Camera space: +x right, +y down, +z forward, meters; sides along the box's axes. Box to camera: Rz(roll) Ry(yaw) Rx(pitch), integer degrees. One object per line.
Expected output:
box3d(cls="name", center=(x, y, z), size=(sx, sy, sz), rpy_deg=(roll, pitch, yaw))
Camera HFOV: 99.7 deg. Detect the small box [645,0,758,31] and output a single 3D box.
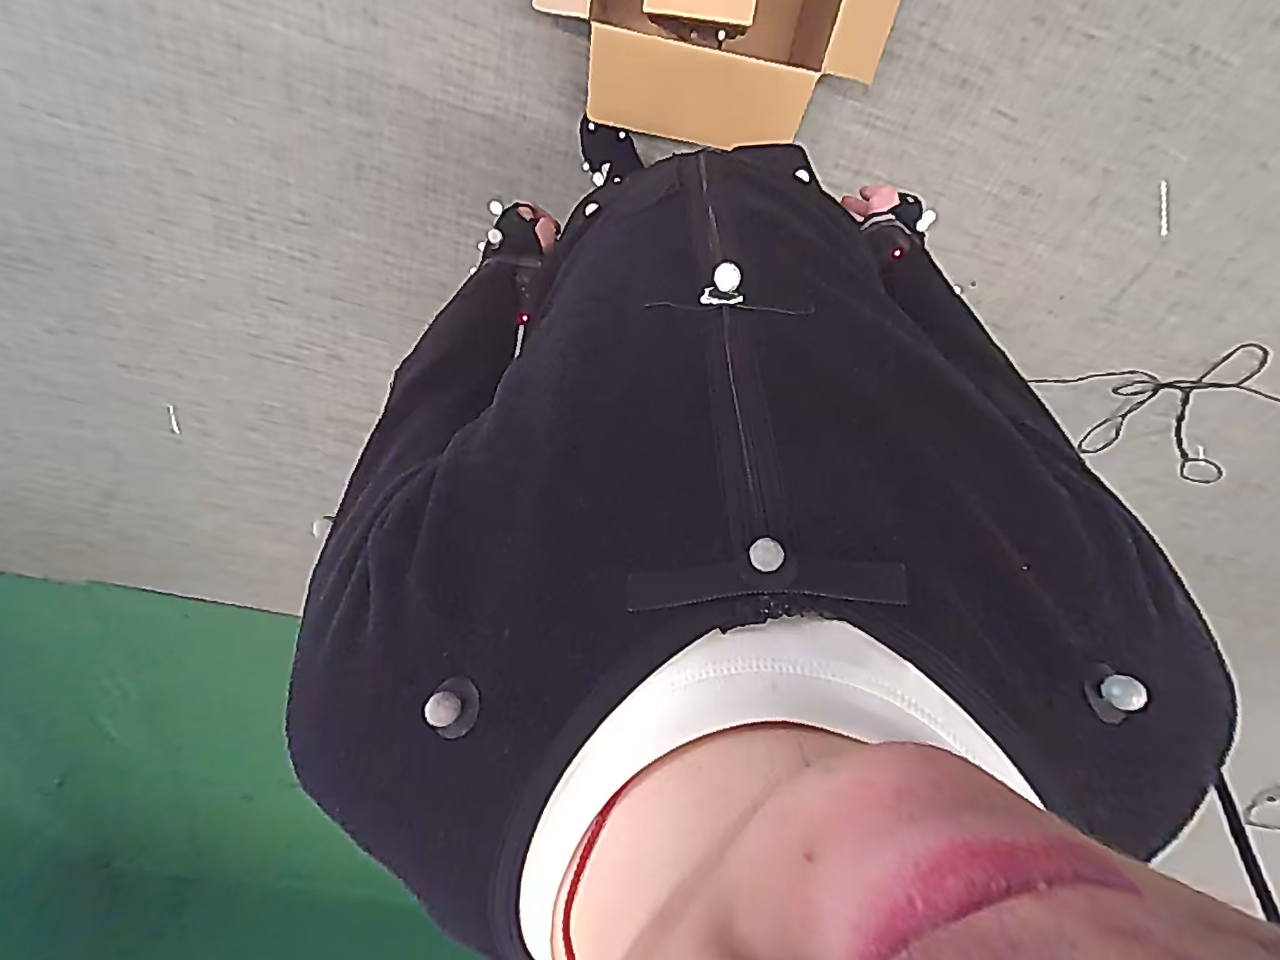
box3d(cls="small box", center=(0.110, -0.841, 0.864), size=(0.179, 0.176, 0.168), rpy_deg=(9, 124, 1))
